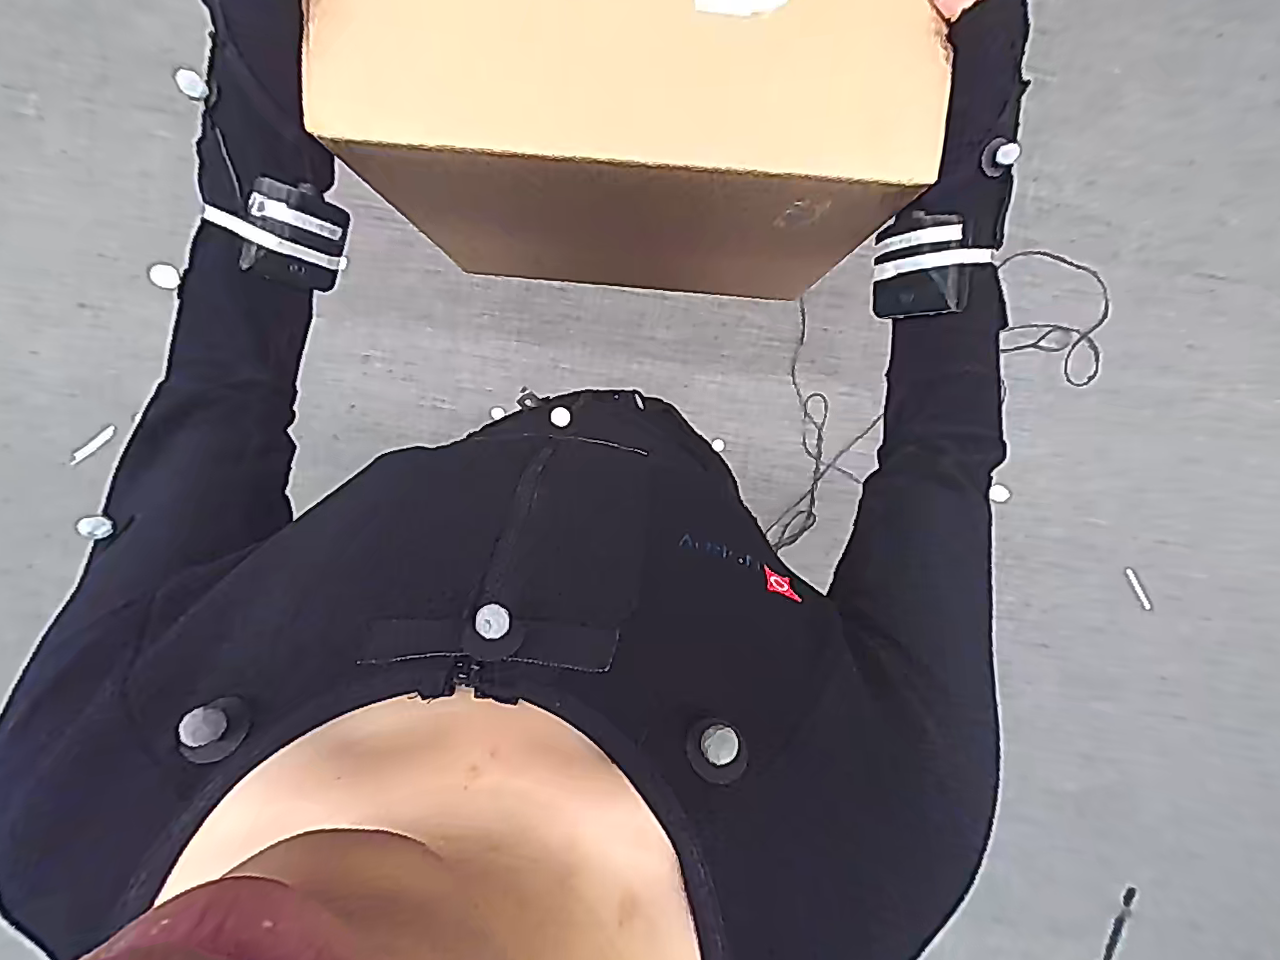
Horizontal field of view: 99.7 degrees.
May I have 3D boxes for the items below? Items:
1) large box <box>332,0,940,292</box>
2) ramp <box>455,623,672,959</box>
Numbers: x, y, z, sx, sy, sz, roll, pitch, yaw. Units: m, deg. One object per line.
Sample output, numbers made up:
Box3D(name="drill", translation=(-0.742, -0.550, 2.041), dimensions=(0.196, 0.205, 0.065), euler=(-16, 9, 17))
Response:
Box3D(name="large box", translation=(0.000, -0.378, 0.498), dimensions=(0.408, 0.320, 0.320), euler=(4, 95, 0))
Box3D(name="ramp", translation=(-0.215, 0.931, 1.527), dimensions=(0.509, 0.206, 0.991), euler=(7, 97, 1))
